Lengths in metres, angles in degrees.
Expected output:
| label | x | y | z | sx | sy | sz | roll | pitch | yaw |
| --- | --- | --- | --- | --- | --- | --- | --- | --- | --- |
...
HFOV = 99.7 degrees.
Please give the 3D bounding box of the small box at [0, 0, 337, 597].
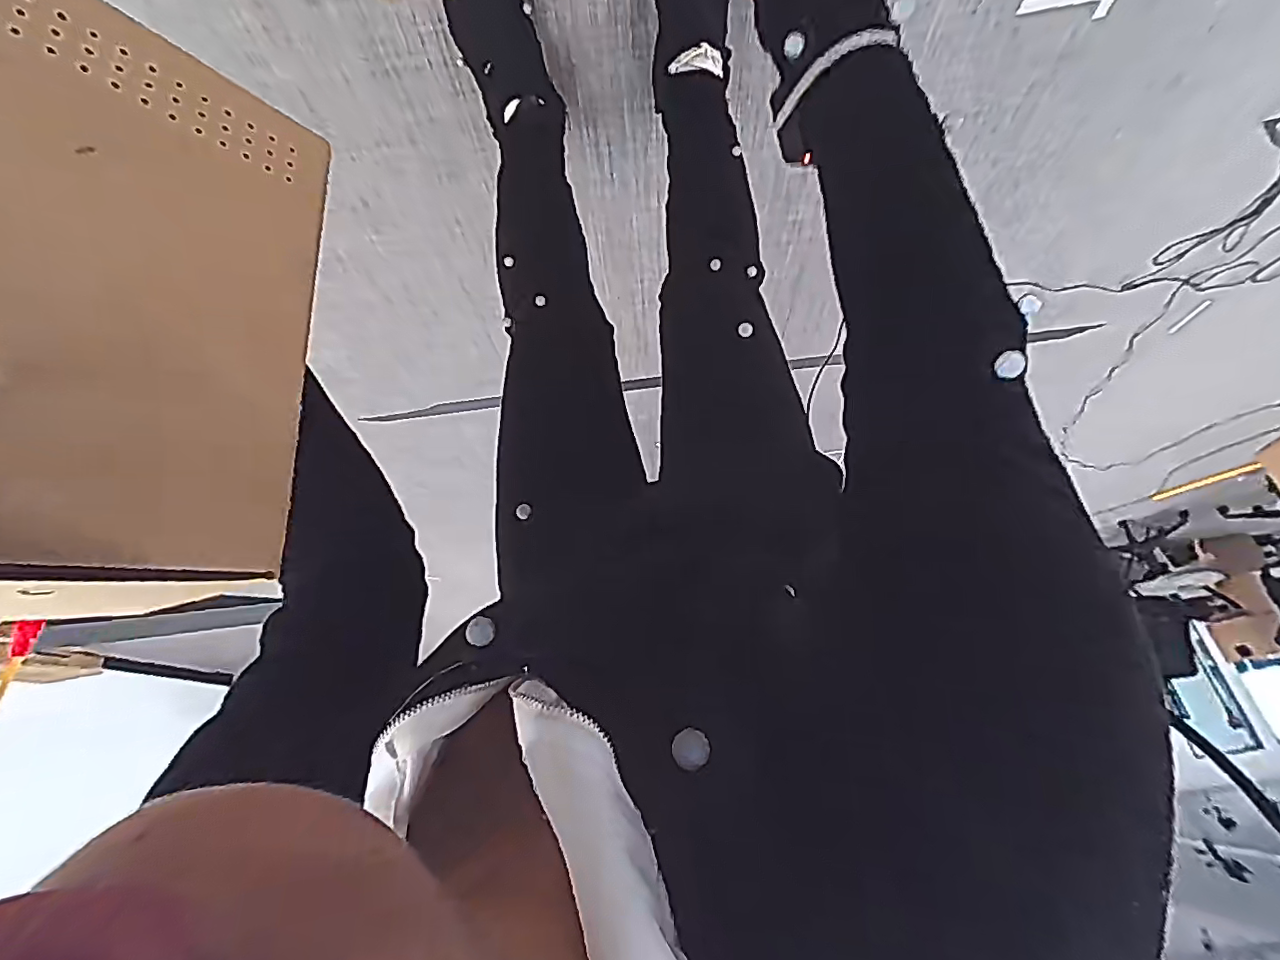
| label | x | y | z | sx | sy | sz | roll | pitch | yaw |
| --- | --- | --- | --- | --- | --- | --- | --- | --- | --- |
| small box | -0.225 | -0.055 | 0.175 | 0.168 | 0.176 | 0.179 | -15 | 160 | 34 |
